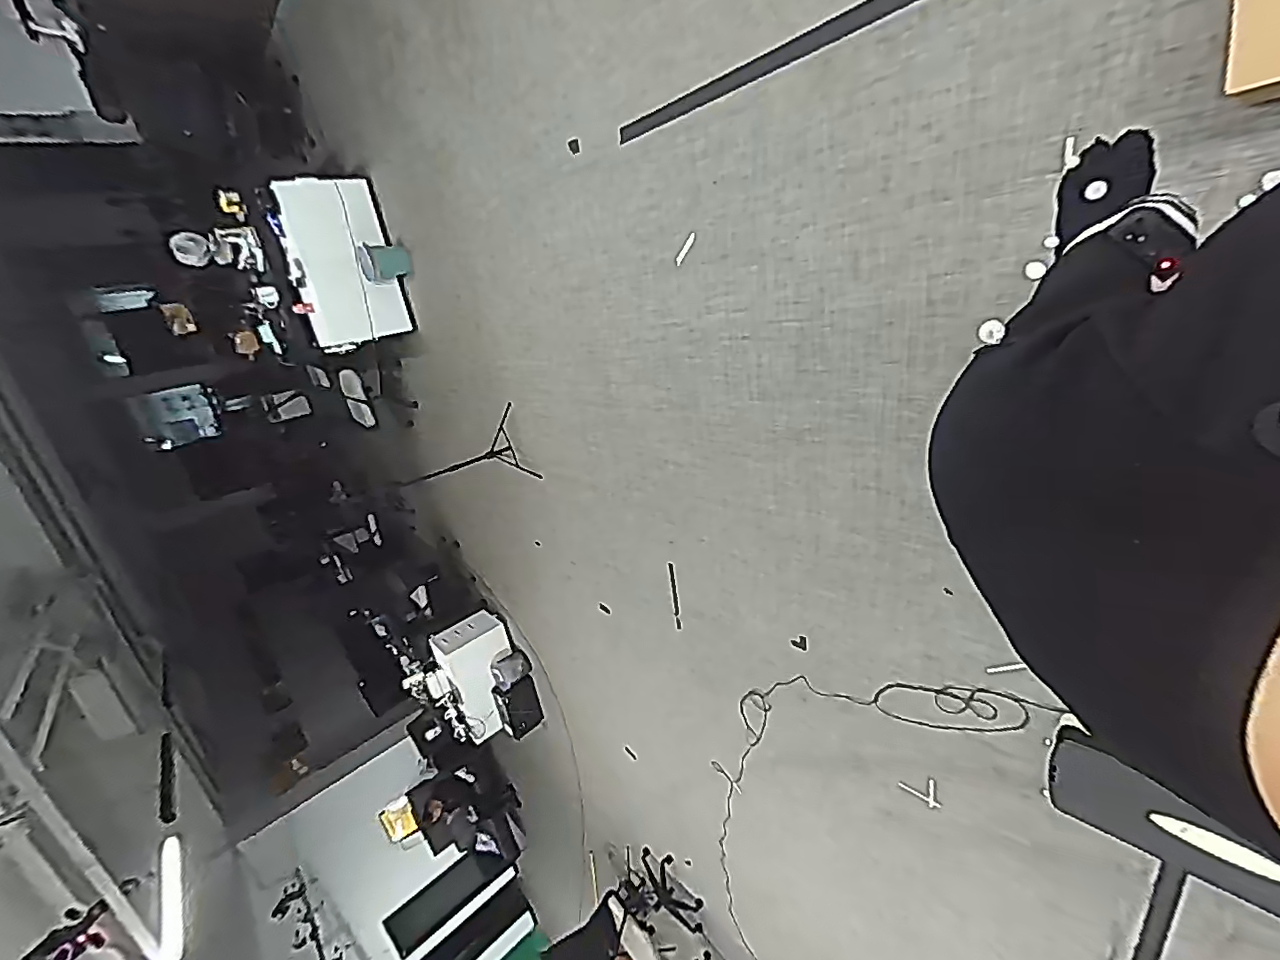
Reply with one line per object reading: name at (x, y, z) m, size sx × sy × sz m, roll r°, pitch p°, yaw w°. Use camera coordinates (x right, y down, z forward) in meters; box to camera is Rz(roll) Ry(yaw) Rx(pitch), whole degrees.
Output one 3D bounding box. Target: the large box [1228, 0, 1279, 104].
large box at (1.004, -0.705, 0.634) m, size 0.408 × 0.320 × 0.320 m, roll 8°, pitch 118°, yaw 48°
